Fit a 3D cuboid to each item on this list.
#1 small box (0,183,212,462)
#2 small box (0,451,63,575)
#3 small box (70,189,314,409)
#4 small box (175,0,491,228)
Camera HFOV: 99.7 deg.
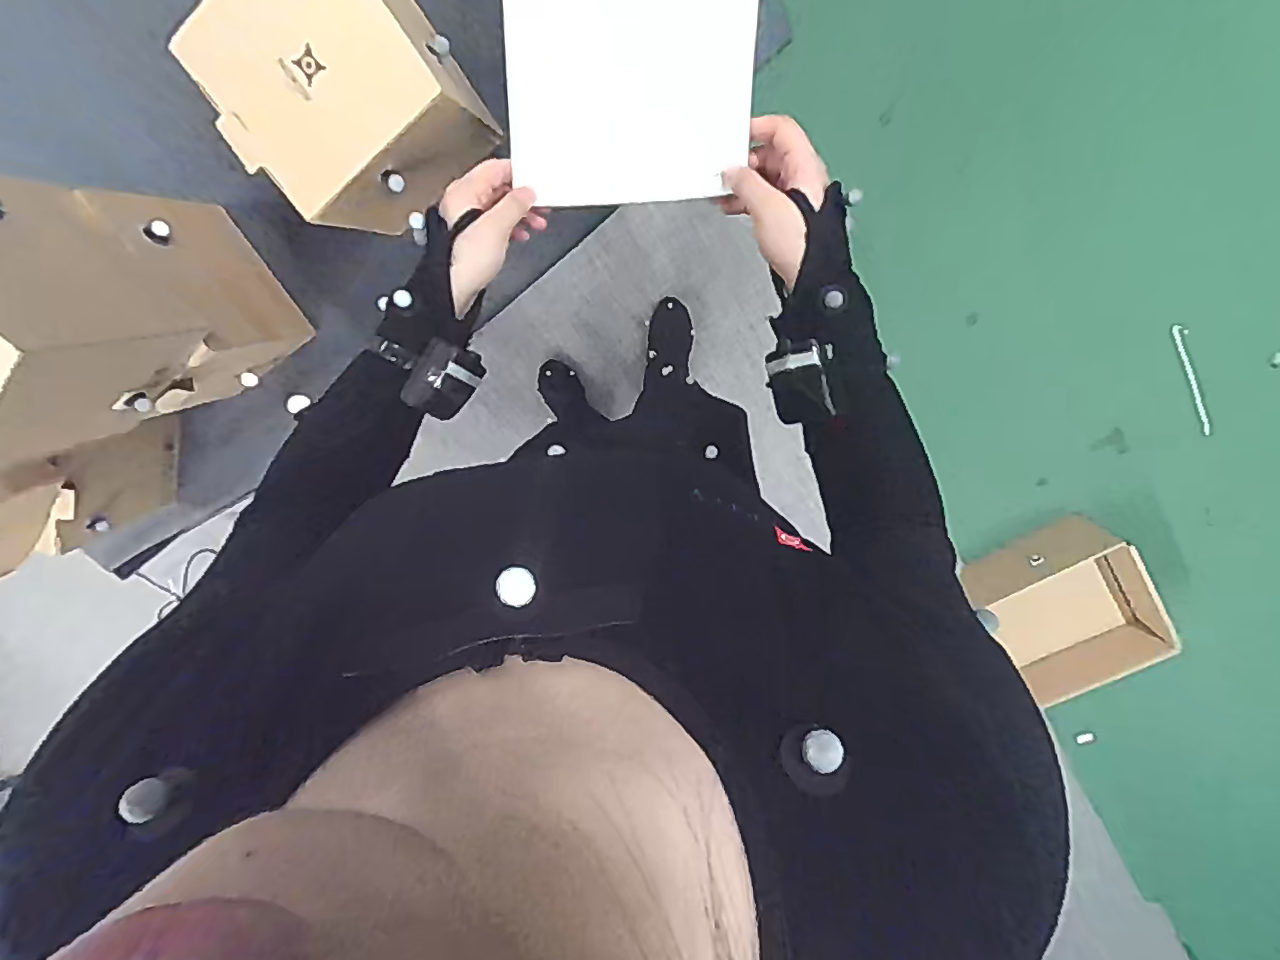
[{"bbox_3d":[-0.540,-0.135,0.466,0.168,0.176,0.179,-39,104,19],"label":"small box"},{"bbox_3d":[-0.764,0.029,0.551,0.168,0.176,0.179,40,111,-11],"label":"small box"},{"bbox_3d":[-0.531,-0.194,0.617,0.168,0.176,0.179,-28,107,16],"label":"small box"},{"bbox_3d":[-0.268,-0.370,0.522,0.179,0.176,0.168,-32,105,17],"label":"small box"}]
